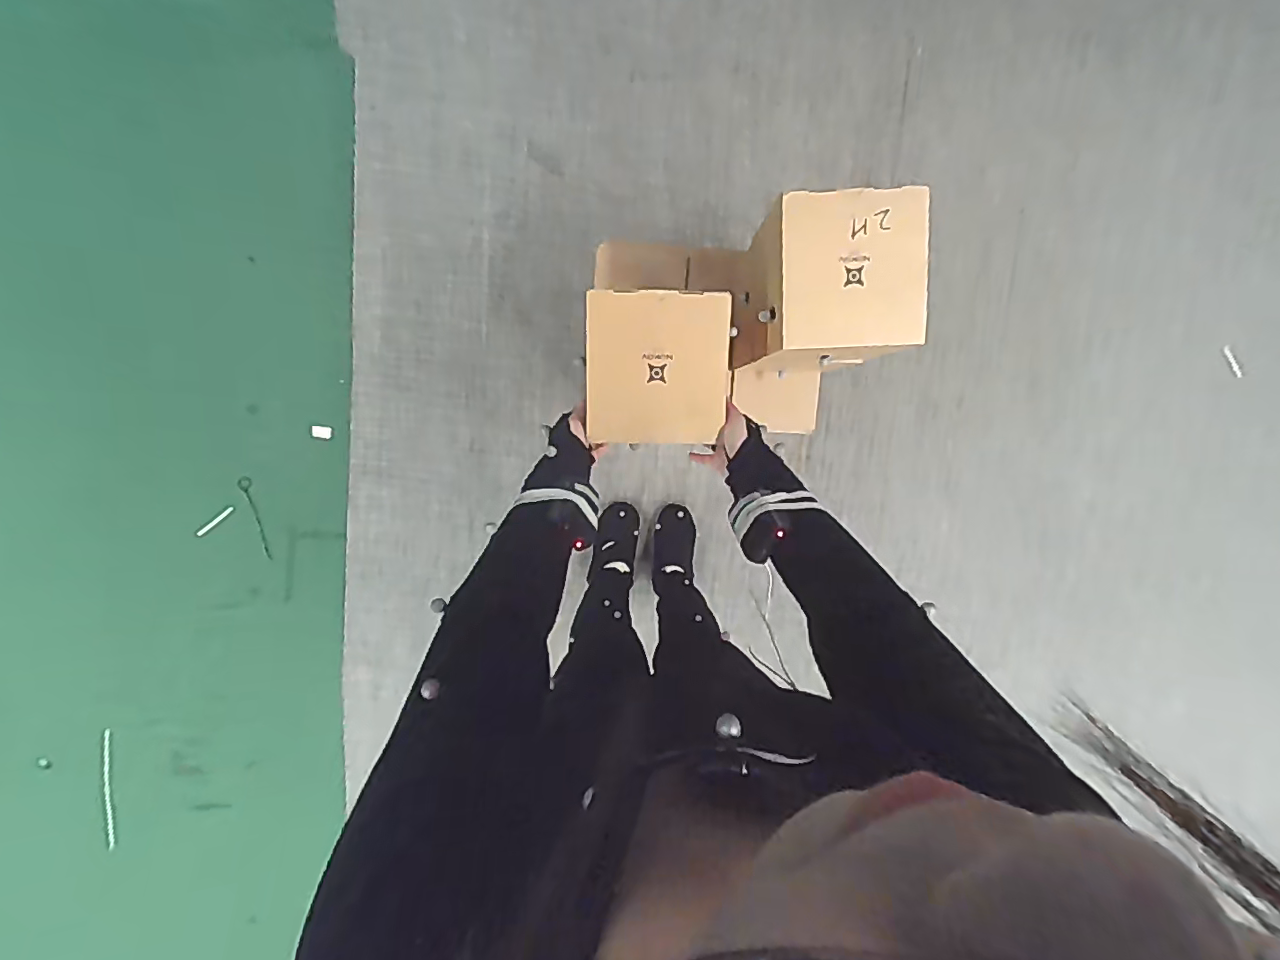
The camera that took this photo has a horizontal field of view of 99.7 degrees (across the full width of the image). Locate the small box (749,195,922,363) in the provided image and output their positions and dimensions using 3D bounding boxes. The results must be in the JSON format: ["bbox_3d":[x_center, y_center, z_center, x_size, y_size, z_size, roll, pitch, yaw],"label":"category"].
[{"bbox_3d":[0.239,-0.245,0.702,0.168,0.176,0.179,-1,97,1],"label":"small box"}]

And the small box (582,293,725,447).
[{"bbox_3d":[0.013,-0.142,0.714,0.168,0.176,0.179,1,100,-2],"label":"small box"}]
